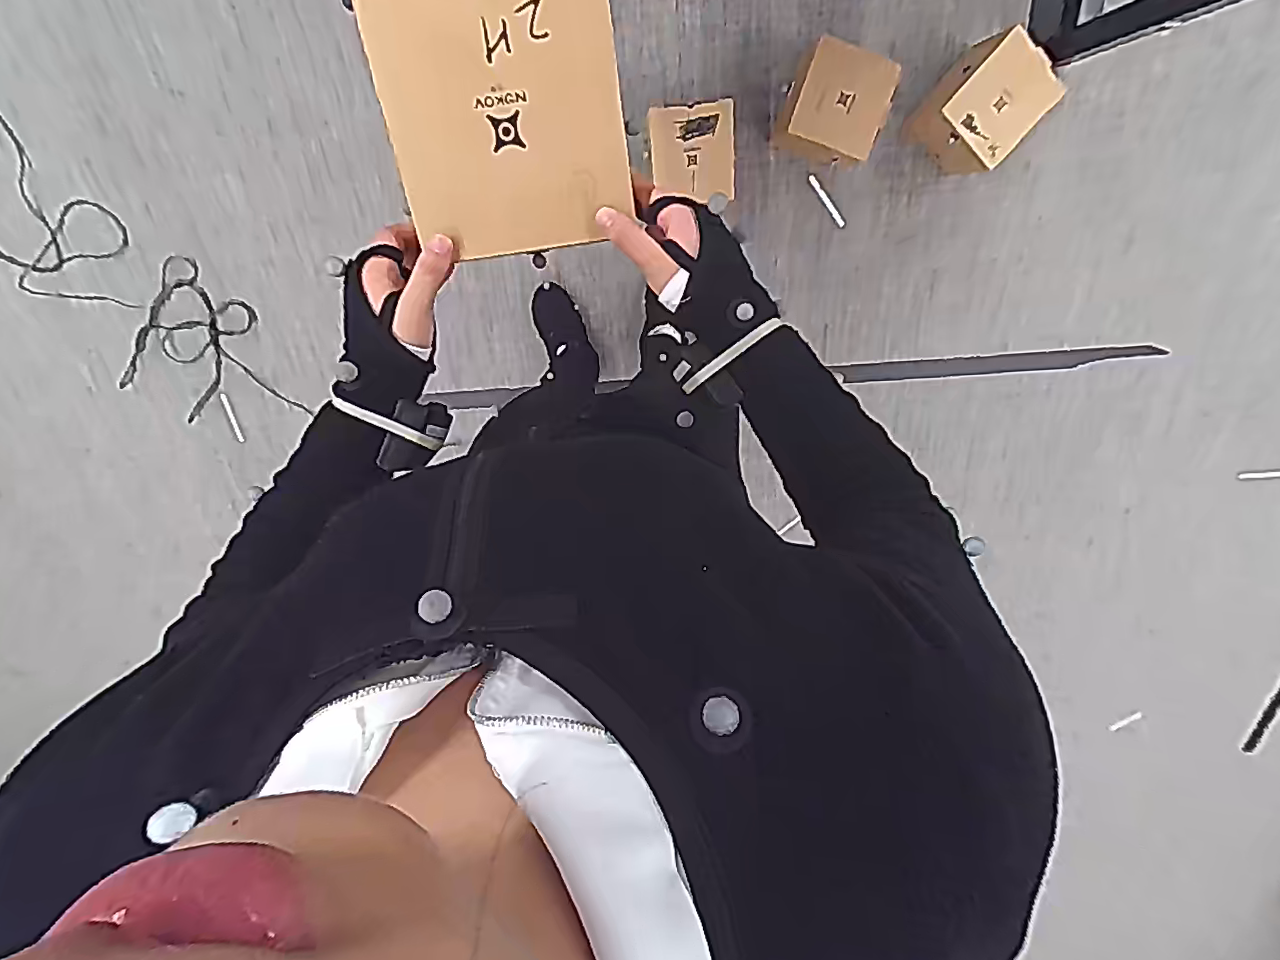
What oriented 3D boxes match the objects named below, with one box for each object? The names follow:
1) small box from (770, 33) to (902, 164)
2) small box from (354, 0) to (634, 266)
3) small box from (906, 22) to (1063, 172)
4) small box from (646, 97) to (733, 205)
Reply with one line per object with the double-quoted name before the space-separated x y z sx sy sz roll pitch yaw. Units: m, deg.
"small box" 0.390 -0.767 1.109 0.179 0.176 0.168 15 114 -7
"small box" -0.098 -0.286 0.451 0.168 0.176 0.179 -9 114 0
"small box" 0.693 -0.767 1.108 0.168 0.176 0.179 36 111 -16
"small box" 0.101 -0.686 1.144 0.168 0.176 0.179 -5 117 2
